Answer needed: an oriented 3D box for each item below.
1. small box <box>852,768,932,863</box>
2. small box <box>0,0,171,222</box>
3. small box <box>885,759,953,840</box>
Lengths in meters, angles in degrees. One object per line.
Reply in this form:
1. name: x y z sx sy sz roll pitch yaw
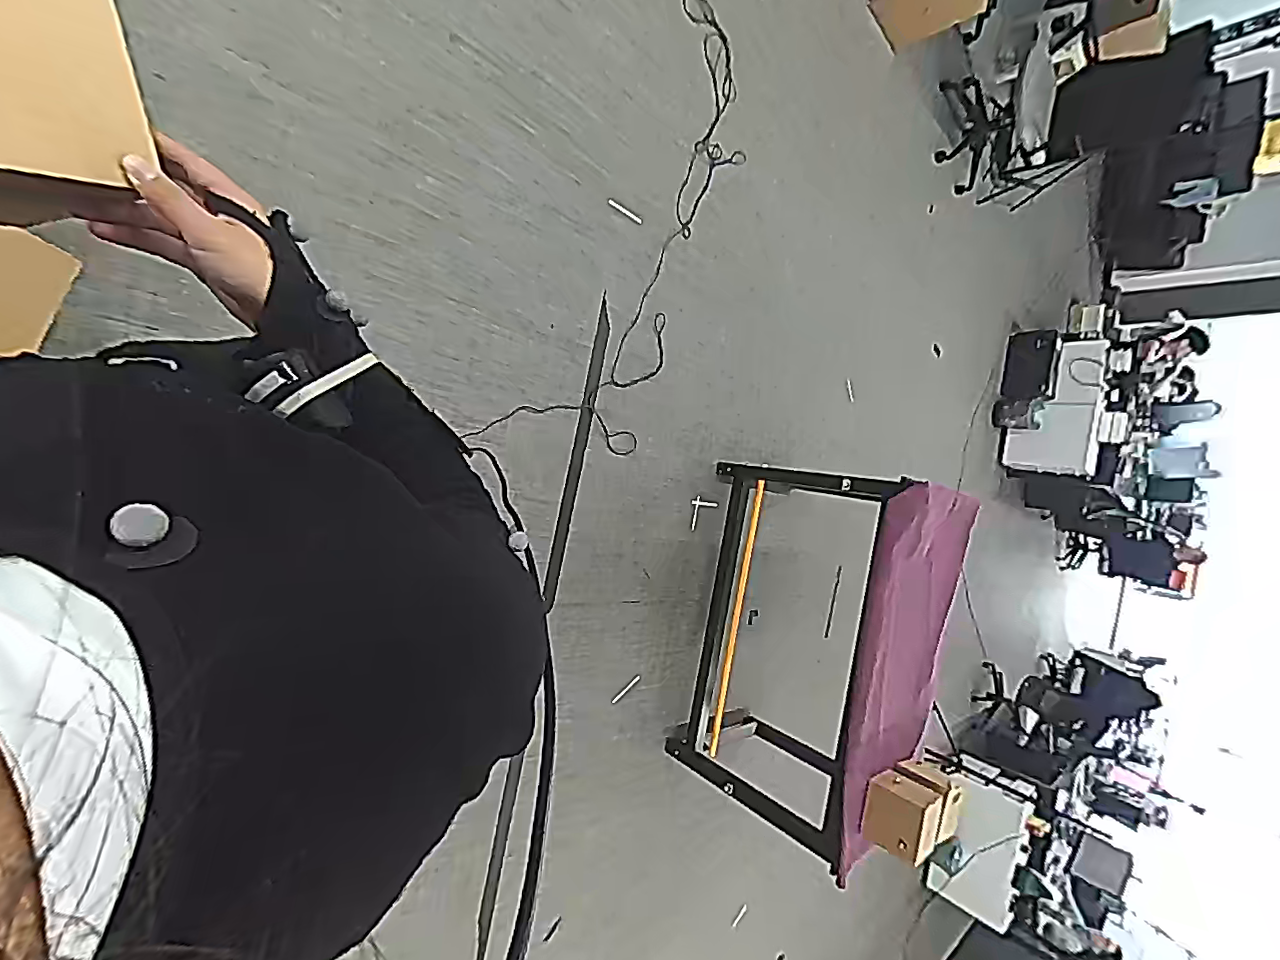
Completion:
1. small box: 0.782 1.039 1.689 0.168 0.176 0.179 14 87 -45
2. small box: -0.401 -0.233 0.268 0.179 0.176 0.168 -37 127 -62
3. small box: 0.926 1.067 1.826 0.168 0.176 0.179 19 85 -41
